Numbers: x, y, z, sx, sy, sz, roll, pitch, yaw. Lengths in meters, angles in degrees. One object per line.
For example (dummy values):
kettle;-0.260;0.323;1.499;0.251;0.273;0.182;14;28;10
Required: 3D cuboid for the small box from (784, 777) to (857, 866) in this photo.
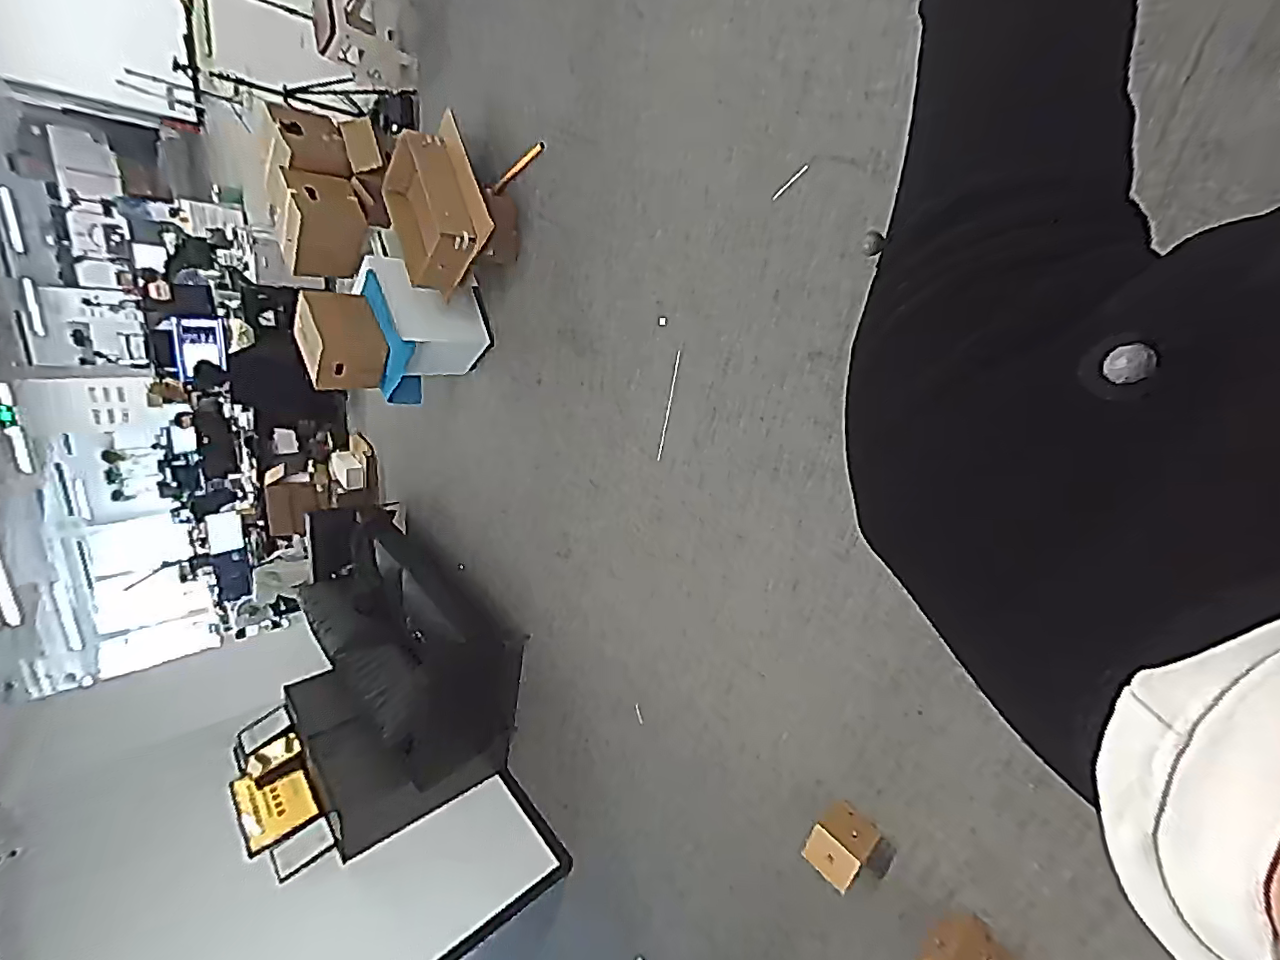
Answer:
small box;0.646;1.207;1.925;0.168;0.176;0.179;32;122;36
